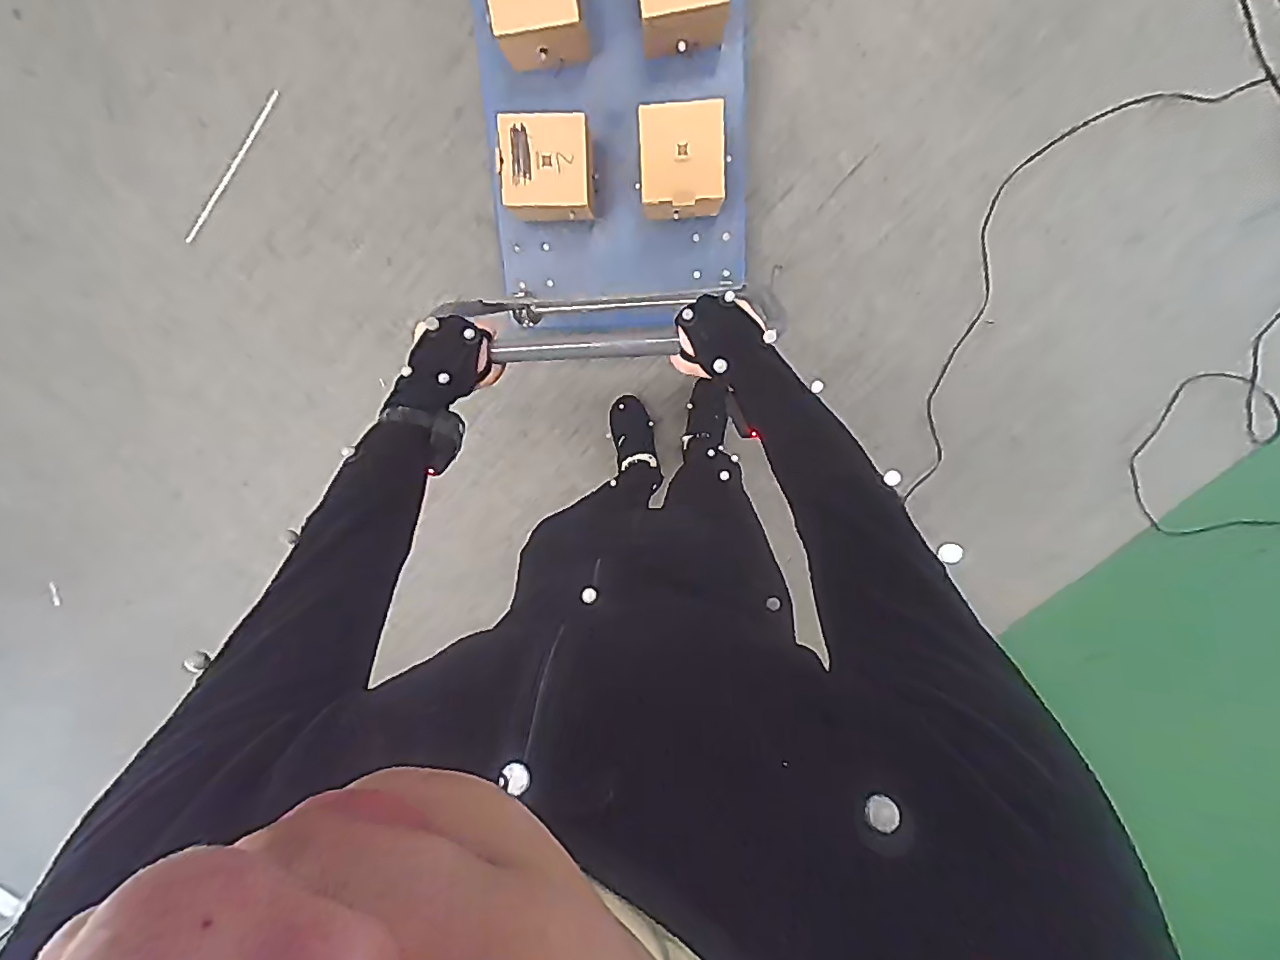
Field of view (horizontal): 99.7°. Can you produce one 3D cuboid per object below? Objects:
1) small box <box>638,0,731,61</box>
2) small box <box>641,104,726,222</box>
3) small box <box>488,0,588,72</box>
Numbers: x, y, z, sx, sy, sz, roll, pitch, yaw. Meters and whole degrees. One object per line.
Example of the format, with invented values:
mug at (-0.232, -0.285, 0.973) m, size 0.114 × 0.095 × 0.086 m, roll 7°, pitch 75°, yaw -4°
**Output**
small box at (0.077, -0.958, 1.044) m, size 0.168 × 0.176 × 0.179 m, roll -7°, pitch 107°, yaw 5°
small box at (0.087, -0.655, 1.134) m, size 0.168 × 0.176 × 0.179 m, roll -3°, pitch 107°, yaw 3°
small box at (-0.200, -0.936, 1.060) m, size 0.168 × 0.176 × 0.179 m, roll -6°, pitch 106°, yaw 3°
